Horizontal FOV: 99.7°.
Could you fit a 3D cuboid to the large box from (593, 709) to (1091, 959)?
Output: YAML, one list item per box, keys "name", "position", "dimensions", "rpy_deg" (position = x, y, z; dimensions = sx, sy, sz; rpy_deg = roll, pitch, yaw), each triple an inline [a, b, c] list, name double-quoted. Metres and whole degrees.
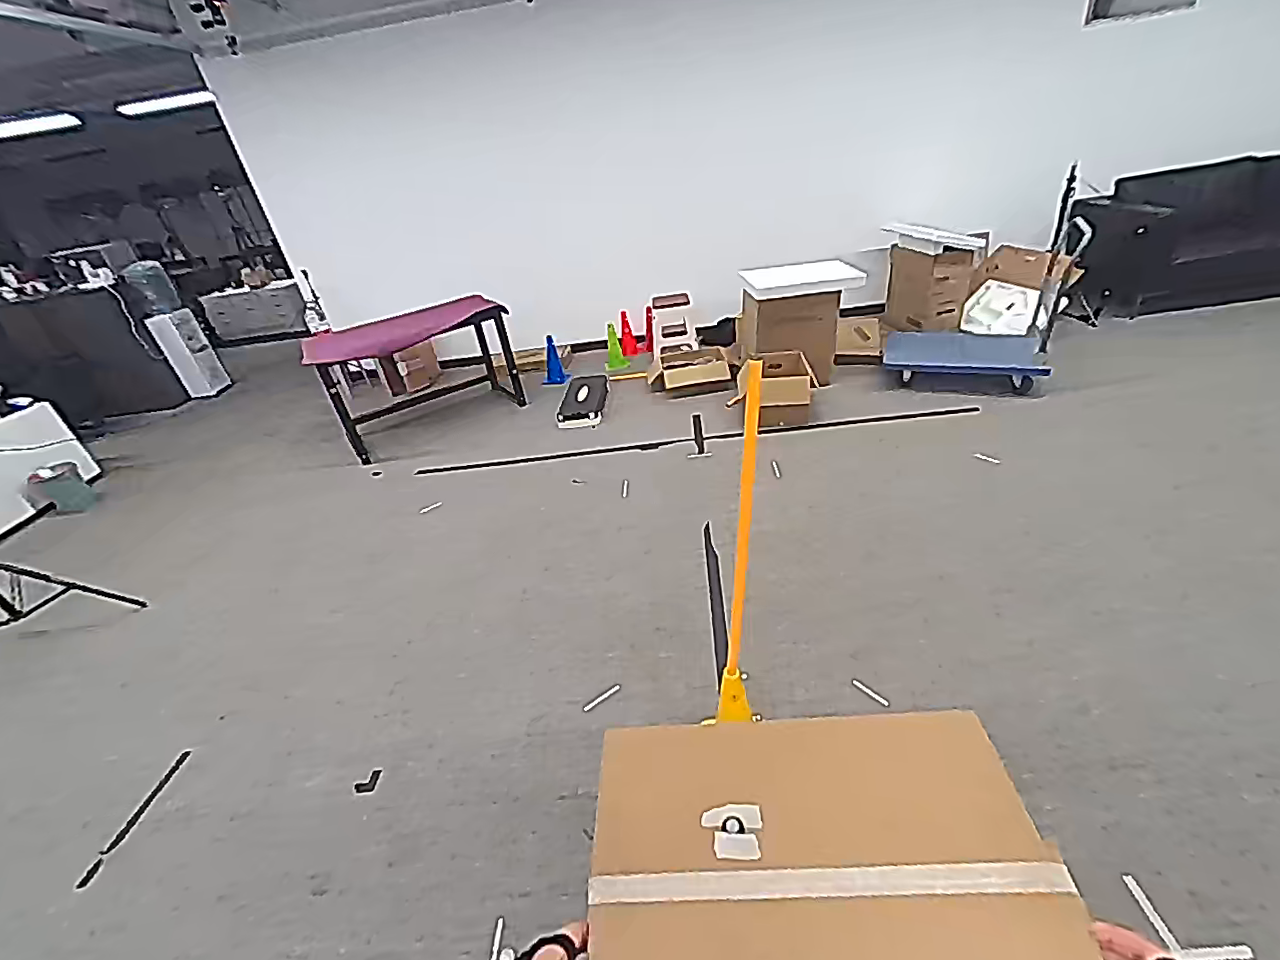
- name: "large box"
  position: [0.182, 0.482, 0.570]
  dimensions: [0.408, 0.320, 0.320]
  rpy_deg: [-7, 34, 7]
